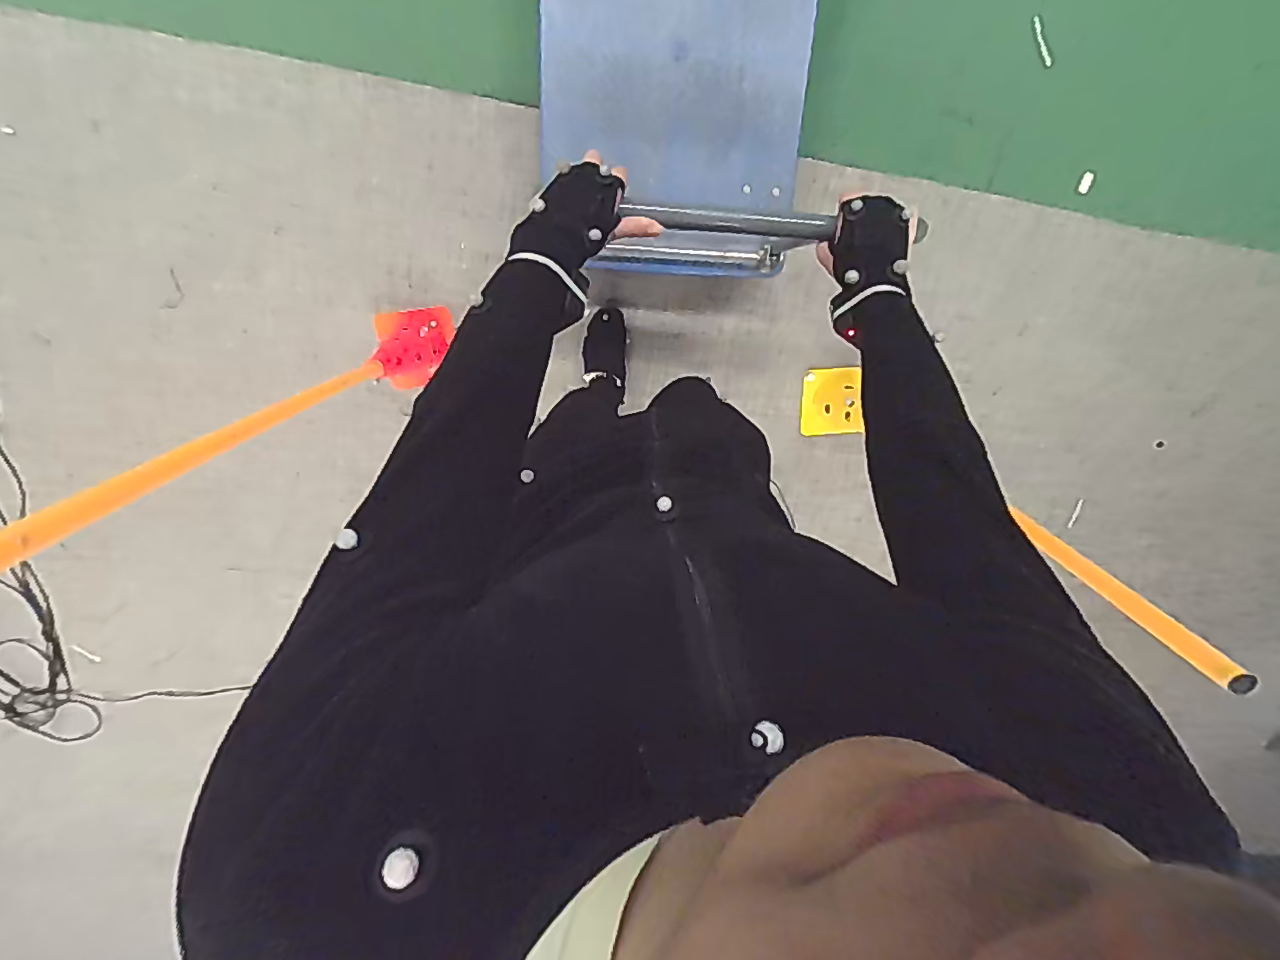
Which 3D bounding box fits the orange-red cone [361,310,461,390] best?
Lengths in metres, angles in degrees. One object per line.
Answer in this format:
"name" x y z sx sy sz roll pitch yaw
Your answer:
"orange-red cone" -0.572 -0.285 1.275 0.199 0.360 0.198 -8 110 -2
